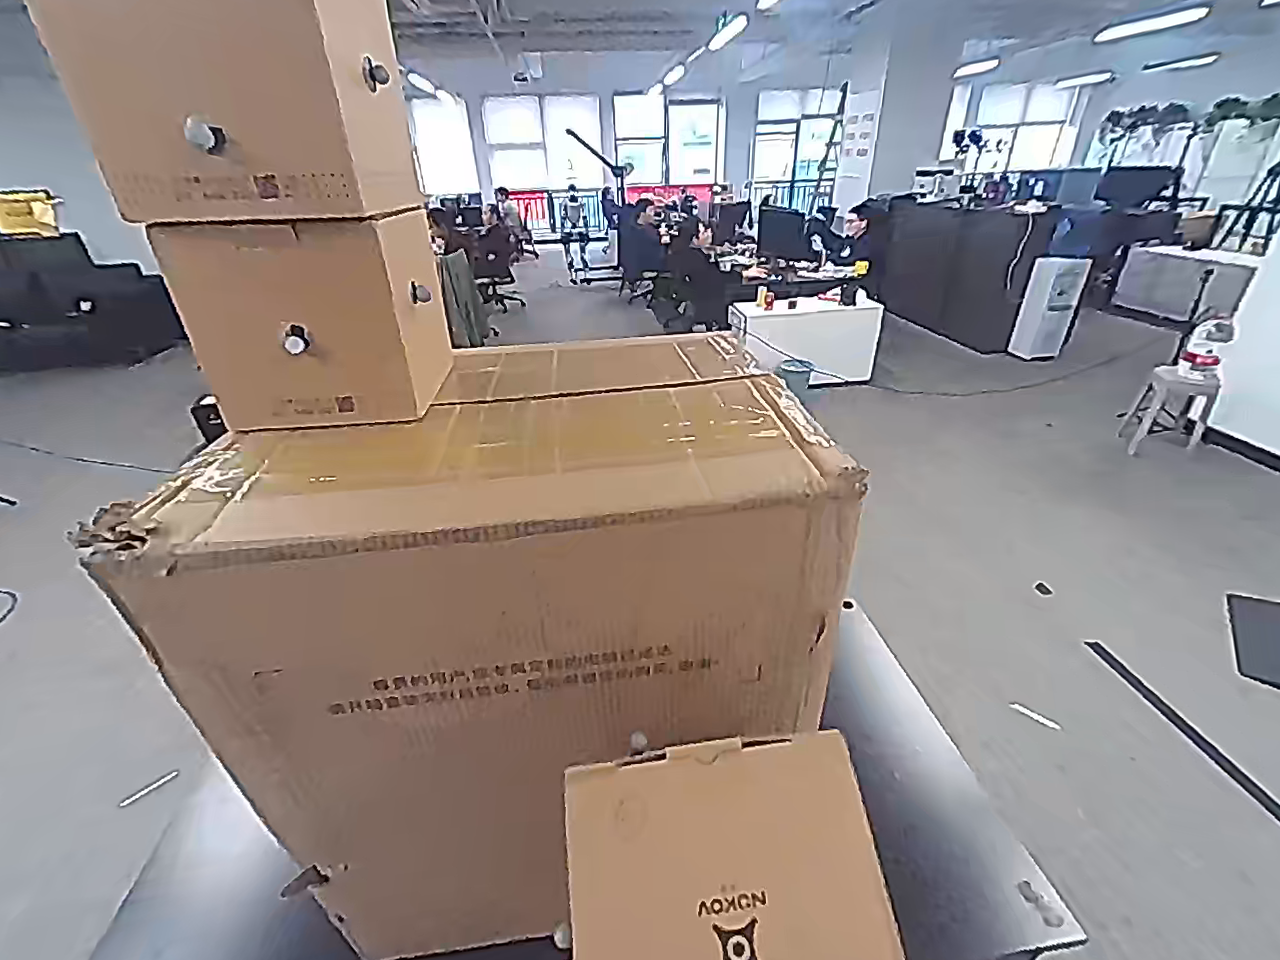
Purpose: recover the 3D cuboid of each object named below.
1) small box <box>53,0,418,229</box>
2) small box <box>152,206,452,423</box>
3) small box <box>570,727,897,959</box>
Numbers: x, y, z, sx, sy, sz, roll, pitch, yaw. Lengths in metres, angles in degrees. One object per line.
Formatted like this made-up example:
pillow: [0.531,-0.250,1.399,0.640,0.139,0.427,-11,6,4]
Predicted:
small box: [-0.287,-0.295,0.421,0.168,0.176,0.179,-4,30,-5]
small box: [-0.288,-0.159,0.516,0.168,0.176,0.179,-4,30,-6]
small box: [0.046,0.272,0.351,0.168,0.176,0.179,-6,62,-4]
